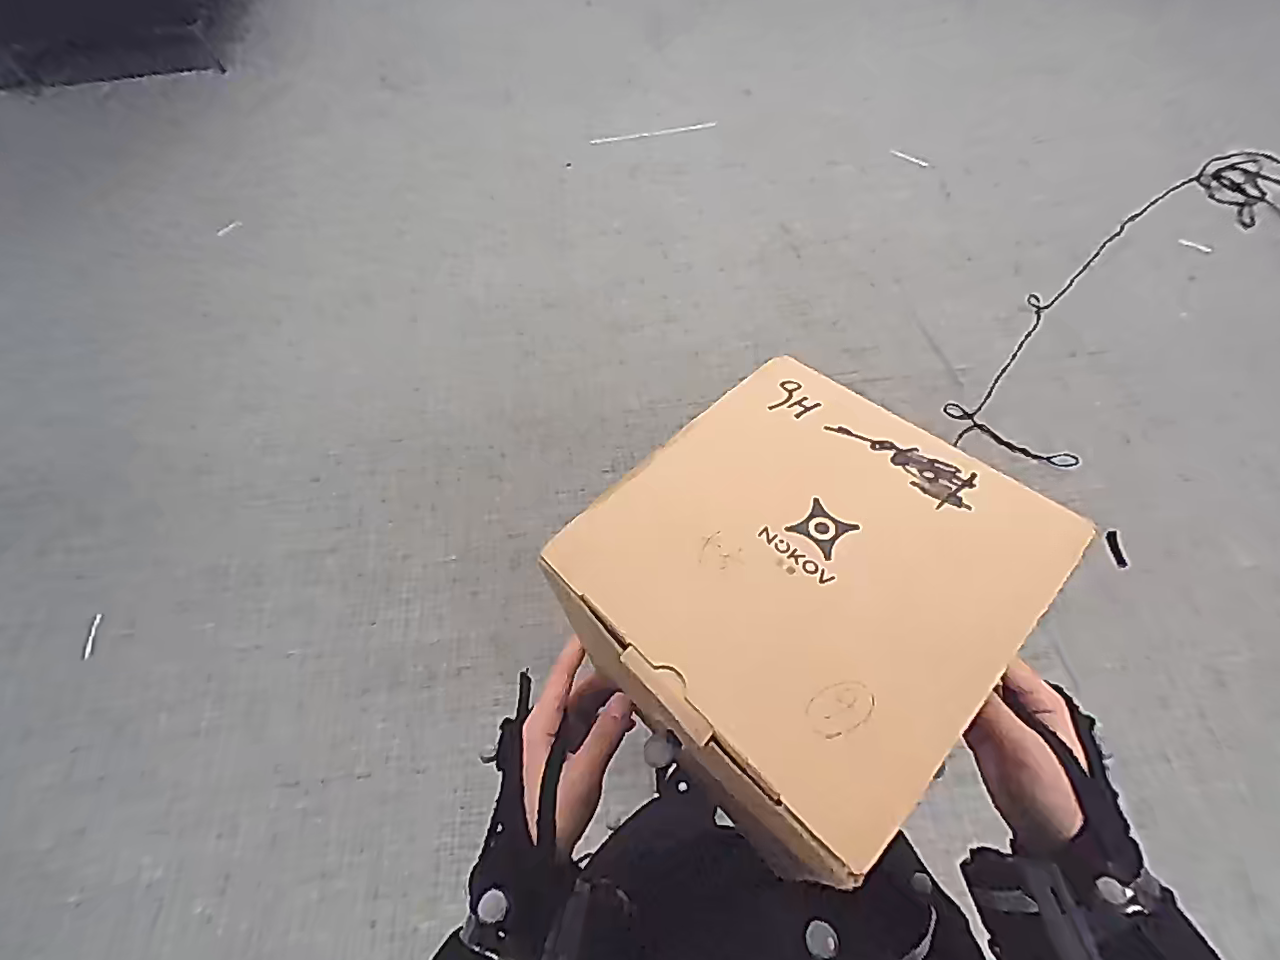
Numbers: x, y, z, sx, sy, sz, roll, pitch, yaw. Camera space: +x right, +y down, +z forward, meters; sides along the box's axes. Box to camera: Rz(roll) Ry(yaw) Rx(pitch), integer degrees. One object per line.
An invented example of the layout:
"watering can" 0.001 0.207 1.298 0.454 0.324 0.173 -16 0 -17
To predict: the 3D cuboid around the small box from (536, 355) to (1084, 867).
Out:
"small box" 0.077 0.072 0.297 0.179 0.176 0.168 -40 59 -20
